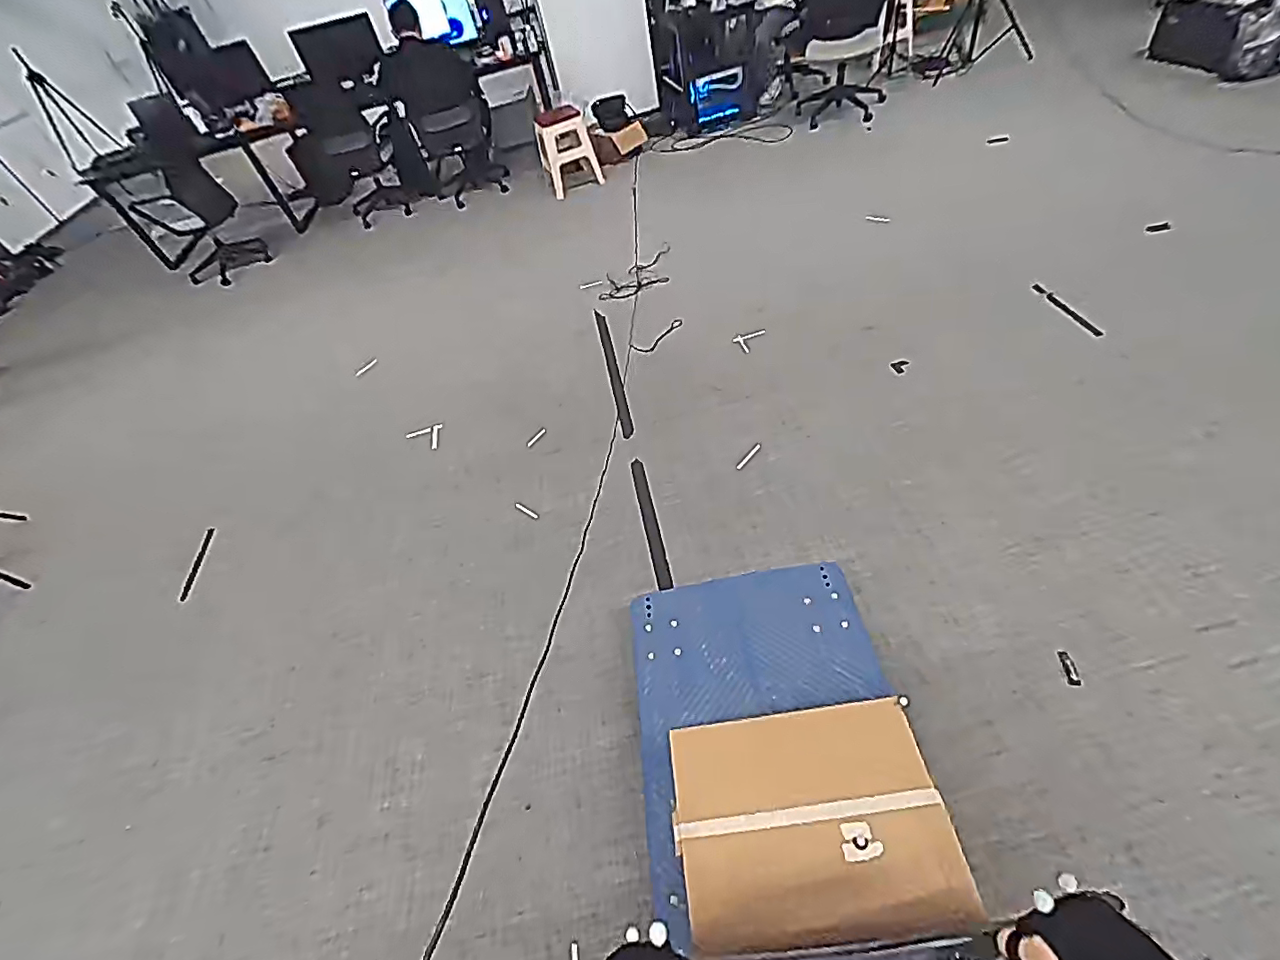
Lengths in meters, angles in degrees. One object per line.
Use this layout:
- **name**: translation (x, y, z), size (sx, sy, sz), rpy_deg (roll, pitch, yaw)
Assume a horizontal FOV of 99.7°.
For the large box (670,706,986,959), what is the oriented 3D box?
- **large box**: translation (0.284, 0.636, 0.942), size (0.408, 0.320, 0.320), rpy_deg (-10, 46, 4)
